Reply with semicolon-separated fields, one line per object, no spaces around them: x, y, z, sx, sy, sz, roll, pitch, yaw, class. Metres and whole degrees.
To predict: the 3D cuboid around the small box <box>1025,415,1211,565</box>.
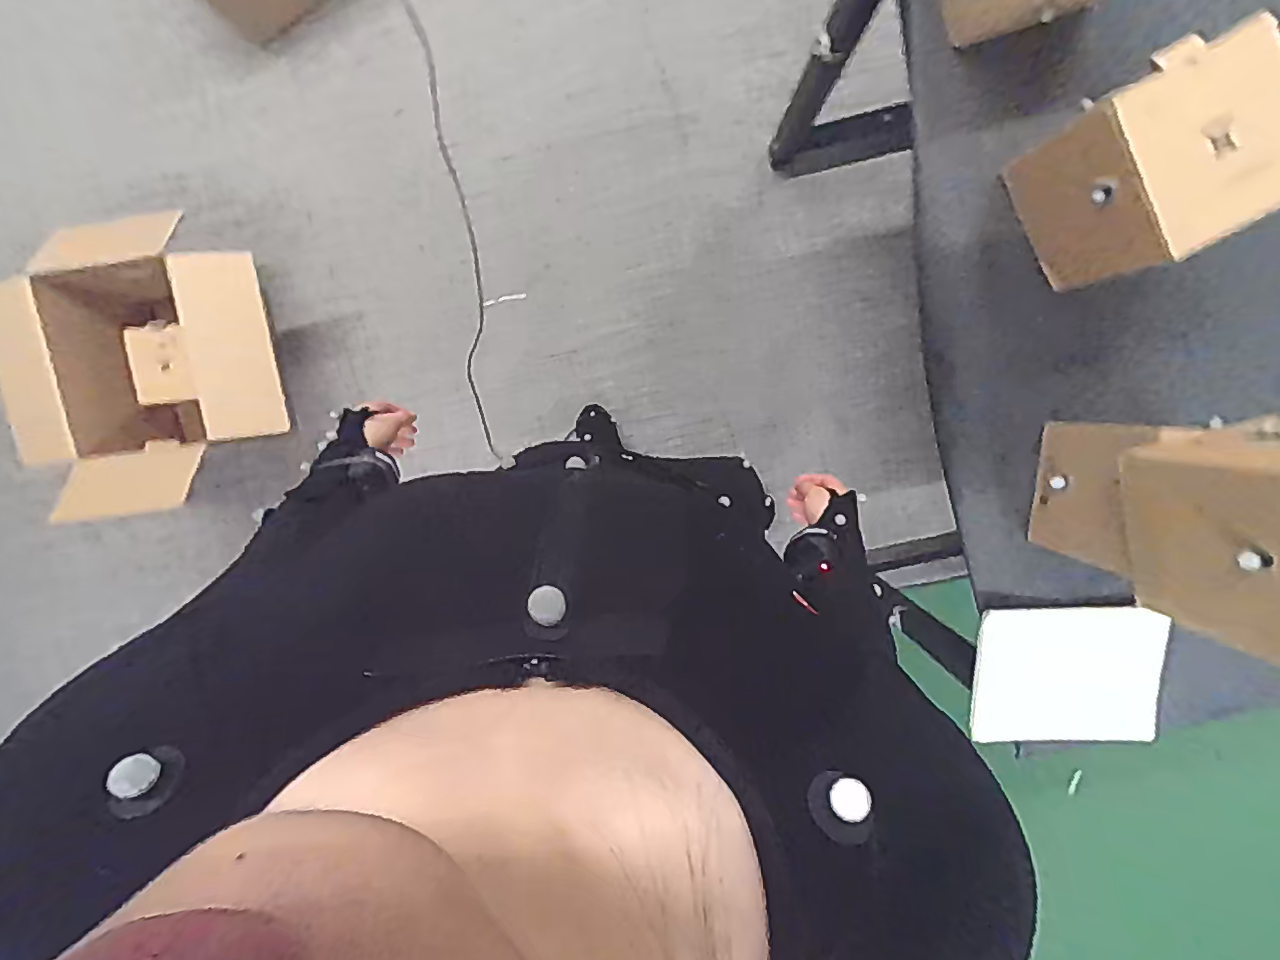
0.621;0.008;0.658;0.179;0.176;0.168;4;97;1;small box

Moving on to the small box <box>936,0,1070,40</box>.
0.439;-0.631;0.579;0.179;0.176;0.168;-17;97;3;small box

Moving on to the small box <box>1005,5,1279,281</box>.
0.566;-0.357;0.614;0.168;0.176;0.179;-29;96;5;small box

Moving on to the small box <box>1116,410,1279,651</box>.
0.596;0.036;0.498;0.168;0.176;0.179;-13;96;2;small box
